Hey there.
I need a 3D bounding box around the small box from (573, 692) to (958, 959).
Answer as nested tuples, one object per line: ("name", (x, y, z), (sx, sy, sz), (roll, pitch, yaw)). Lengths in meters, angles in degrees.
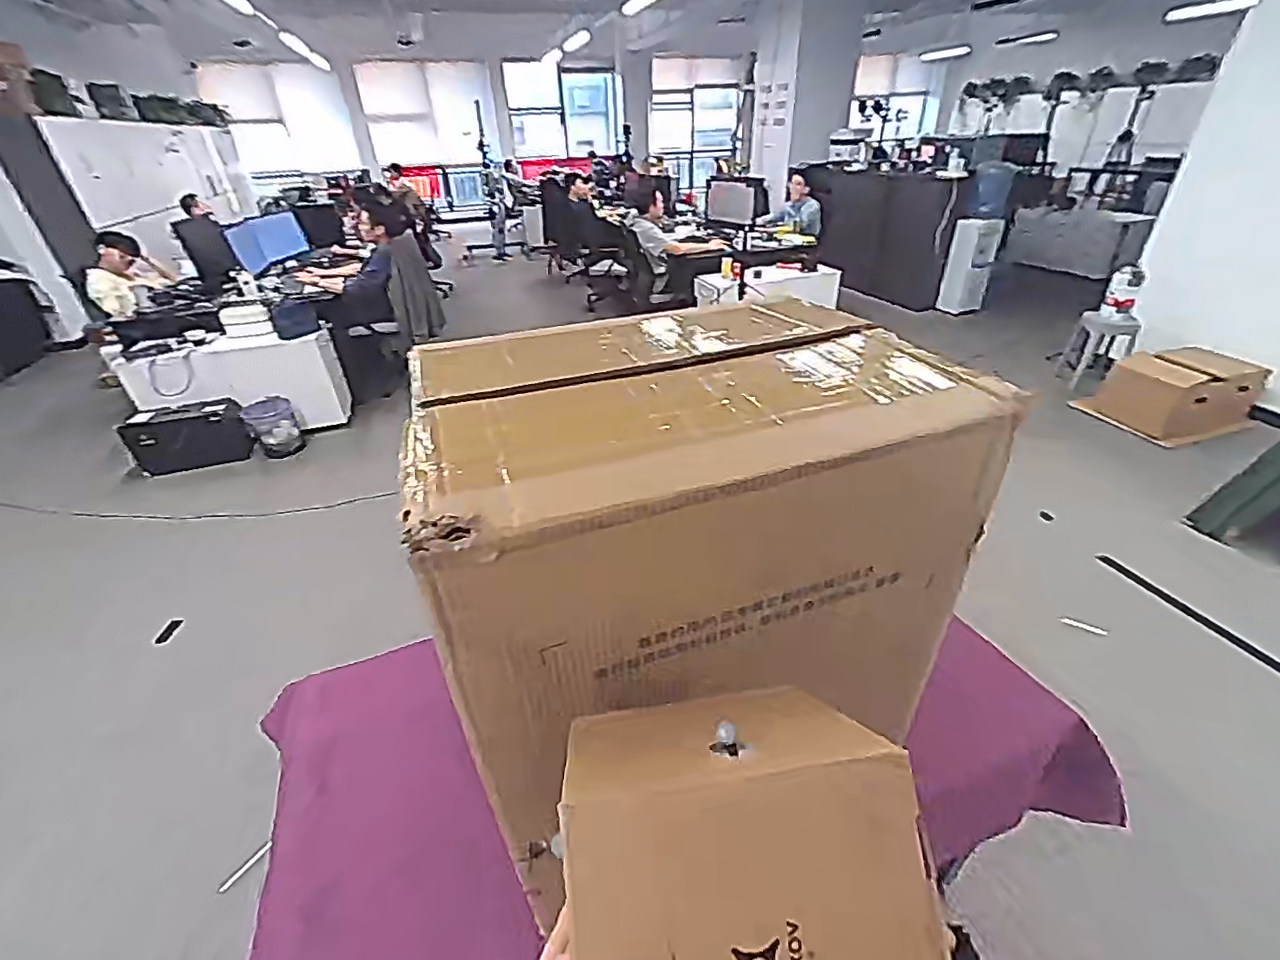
("small box", (0.056, 0.234, 0.325), (0.179, 0.176, 0.168), (-7, 77, -5))
